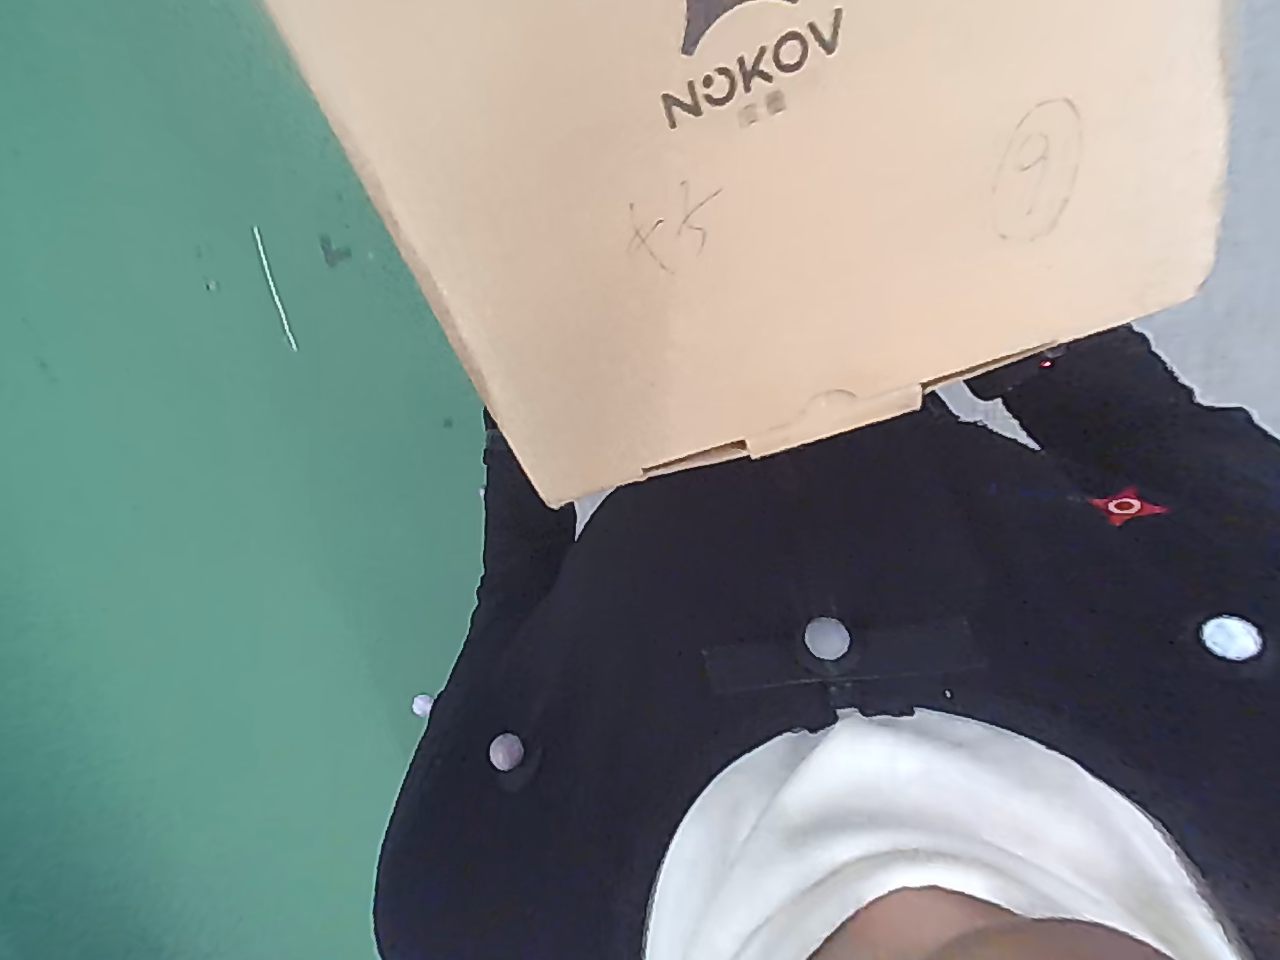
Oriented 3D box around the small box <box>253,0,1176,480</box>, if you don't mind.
[{"bbox_3d":[0.016,-0.131,0.174,0.168,0.176,0.179,-17,116,13],"label":"small box"}]
